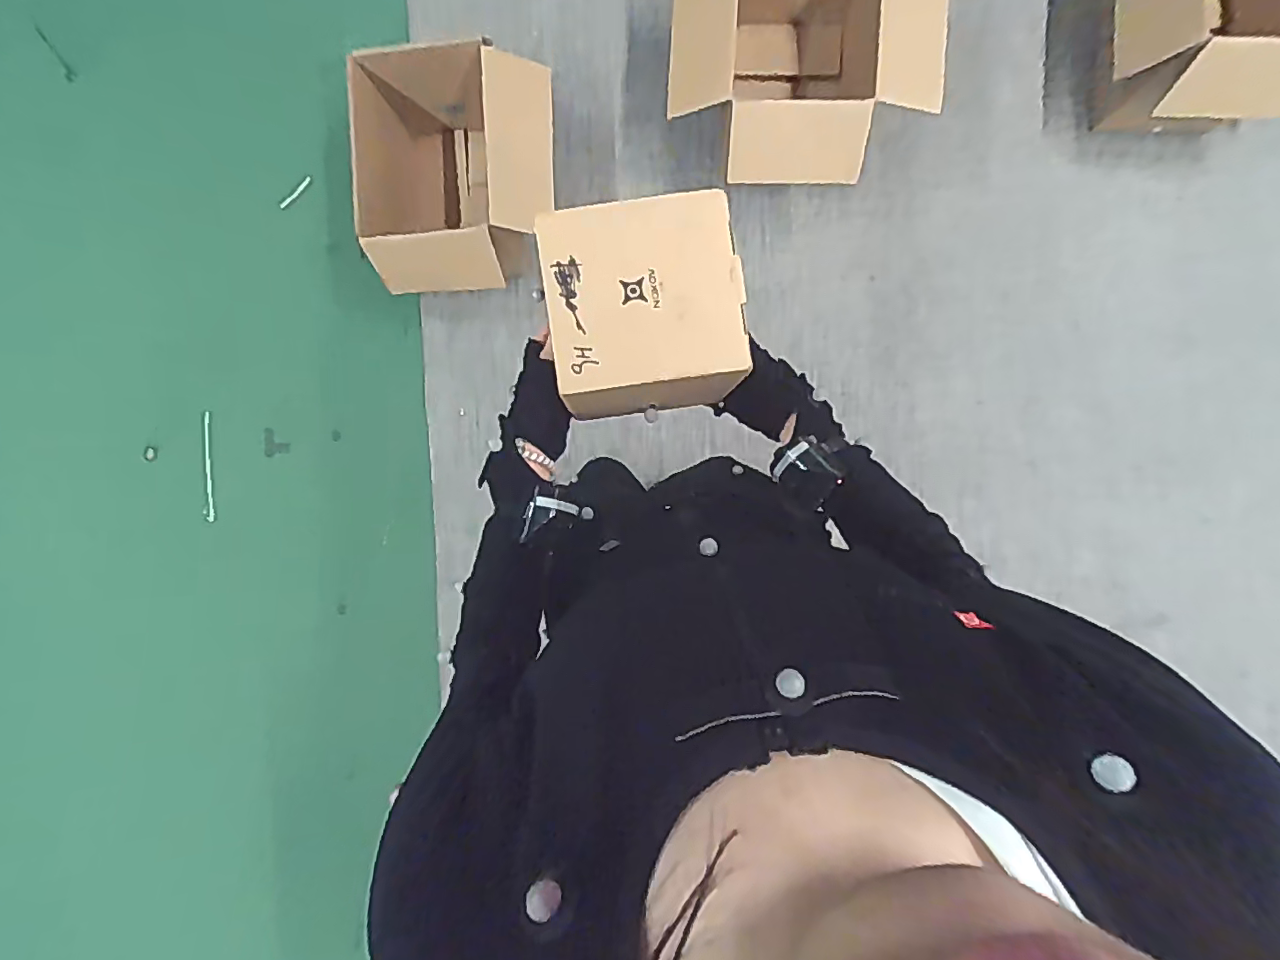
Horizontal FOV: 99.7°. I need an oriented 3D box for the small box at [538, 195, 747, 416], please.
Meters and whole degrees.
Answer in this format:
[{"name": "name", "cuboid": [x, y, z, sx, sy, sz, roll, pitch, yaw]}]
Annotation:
[{"name": "small box", "cuboid": [-0.002, -0.167, 0.564, 0.179, 0.176, 0.168, -7, 87, -2]}]
